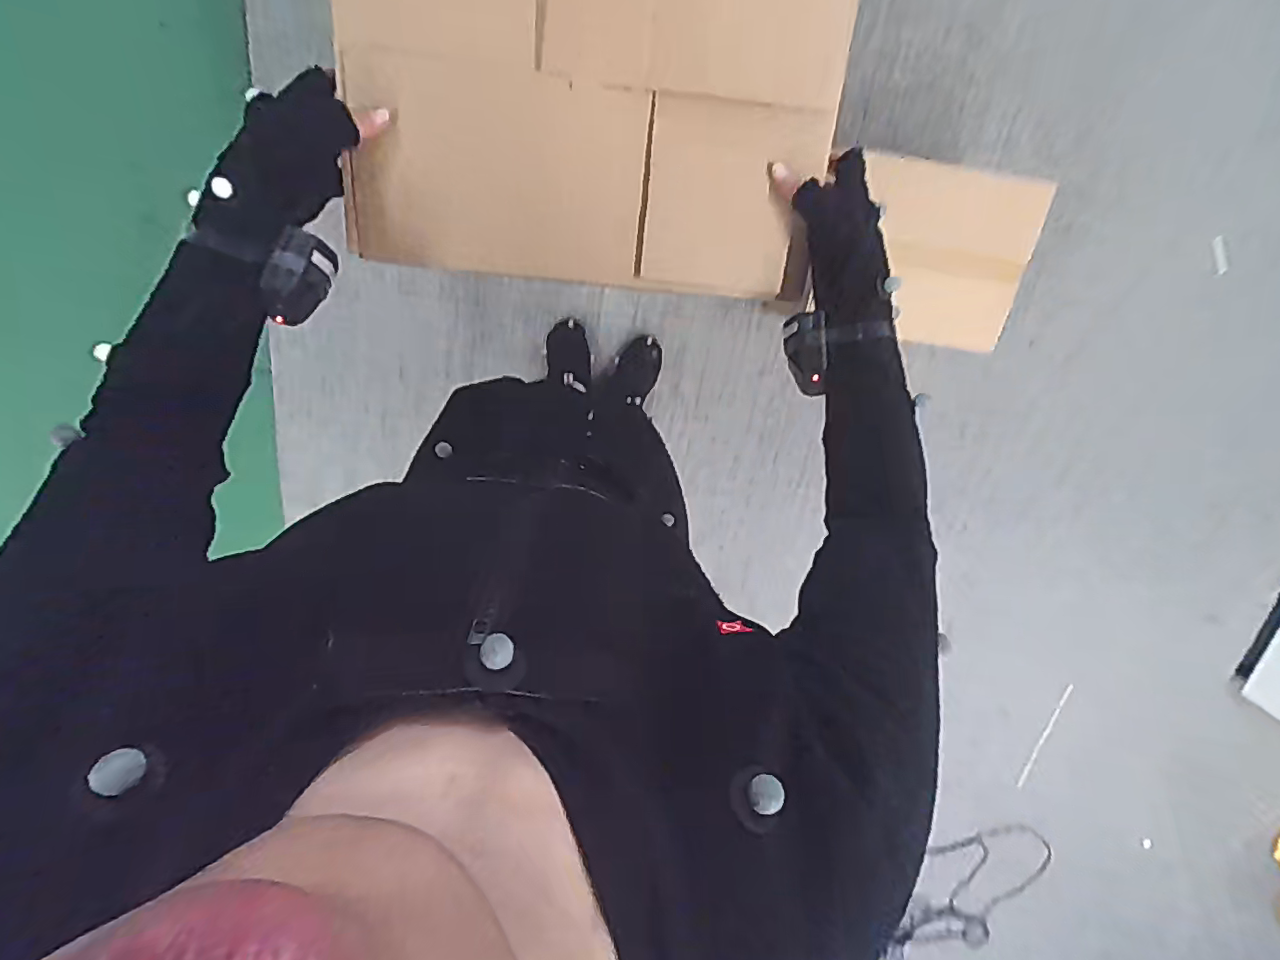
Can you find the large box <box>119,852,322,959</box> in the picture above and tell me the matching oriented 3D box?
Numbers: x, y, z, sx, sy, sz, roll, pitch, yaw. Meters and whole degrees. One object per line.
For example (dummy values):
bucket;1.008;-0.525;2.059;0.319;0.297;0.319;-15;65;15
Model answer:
large box;-1.282;1.424;1.620;0.320;0.320;0.408;-43;107;13
